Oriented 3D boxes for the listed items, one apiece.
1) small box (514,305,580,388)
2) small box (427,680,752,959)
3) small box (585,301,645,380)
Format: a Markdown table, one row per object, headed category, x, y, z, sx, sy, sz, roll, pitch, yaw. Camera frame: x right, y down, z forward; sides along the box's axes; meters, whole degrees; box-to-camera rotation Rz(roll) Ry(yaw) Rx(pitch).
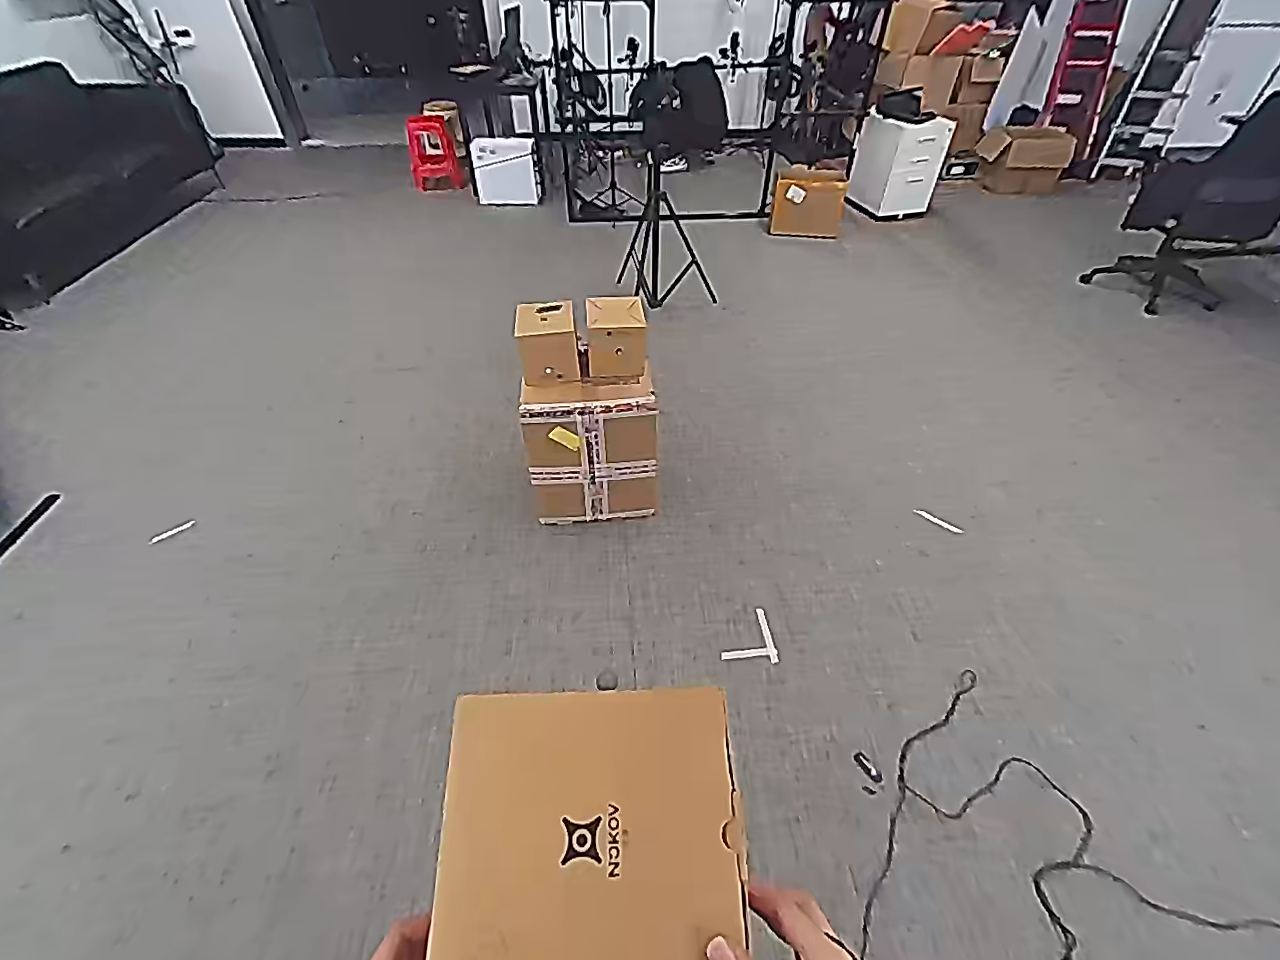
| category | x | y | z | sx | sy | sz | roll | pitch | yaw |
| --- | --- | --- | --- | --- | --- | --- | --- | --- | --- |
| small box | -0.271 | -0.395 | 1.601 | 0.168 | 0.176 | 0.179 | -6 | 46 | -3 |
| small box | -0.028 | 0.244 | 0.385 | 0.179 | 0.176 | 0.168 | -2 | 61 | -2 |
| small box | -0.077 | -0.420 | 1.622 | 0.168 | 0.176 | 0.179 | -3 | 46 | -6 |
